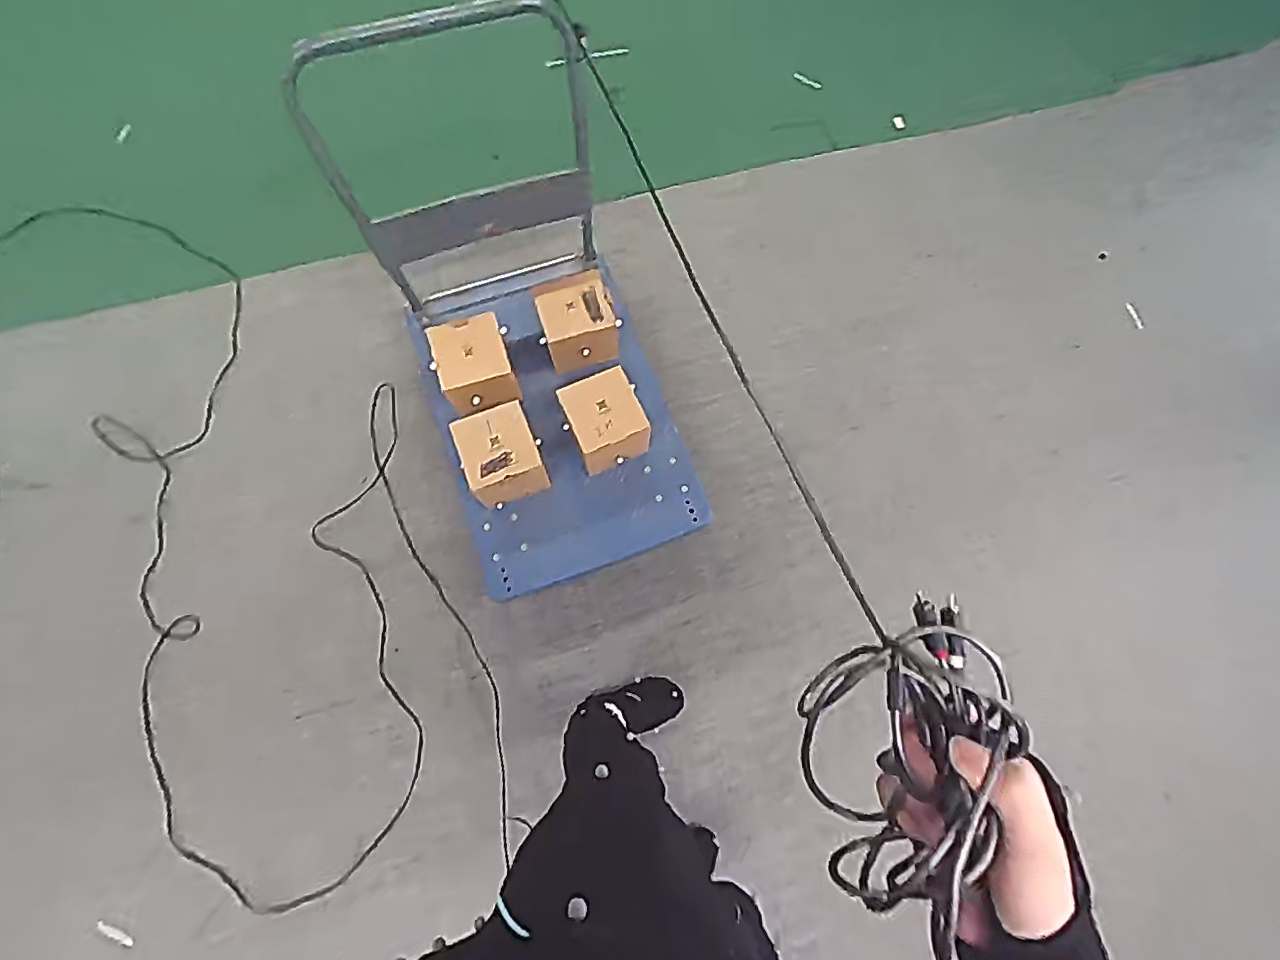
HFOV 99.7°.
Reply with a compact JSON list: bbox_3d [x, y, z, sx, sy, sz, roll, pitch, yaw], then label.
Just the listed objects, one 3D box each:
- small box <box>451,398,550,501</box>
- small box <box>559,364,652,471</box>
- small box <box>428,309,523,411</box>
[{"bbox_3d":[-0.322,-0.061,1.278,0.168,0.176,0.179,-21,75,-9],"label":"small box"},{"bbox_3d":[-0.084,-0.145,1.312,0.168,0.176,0.179,-23,76,-8],"label":"small box"},{"bbox_3d":[-0.402,-0.288,1.345,0.168,0.176,0.179,-17,74,-7],"label":"small box"}]
